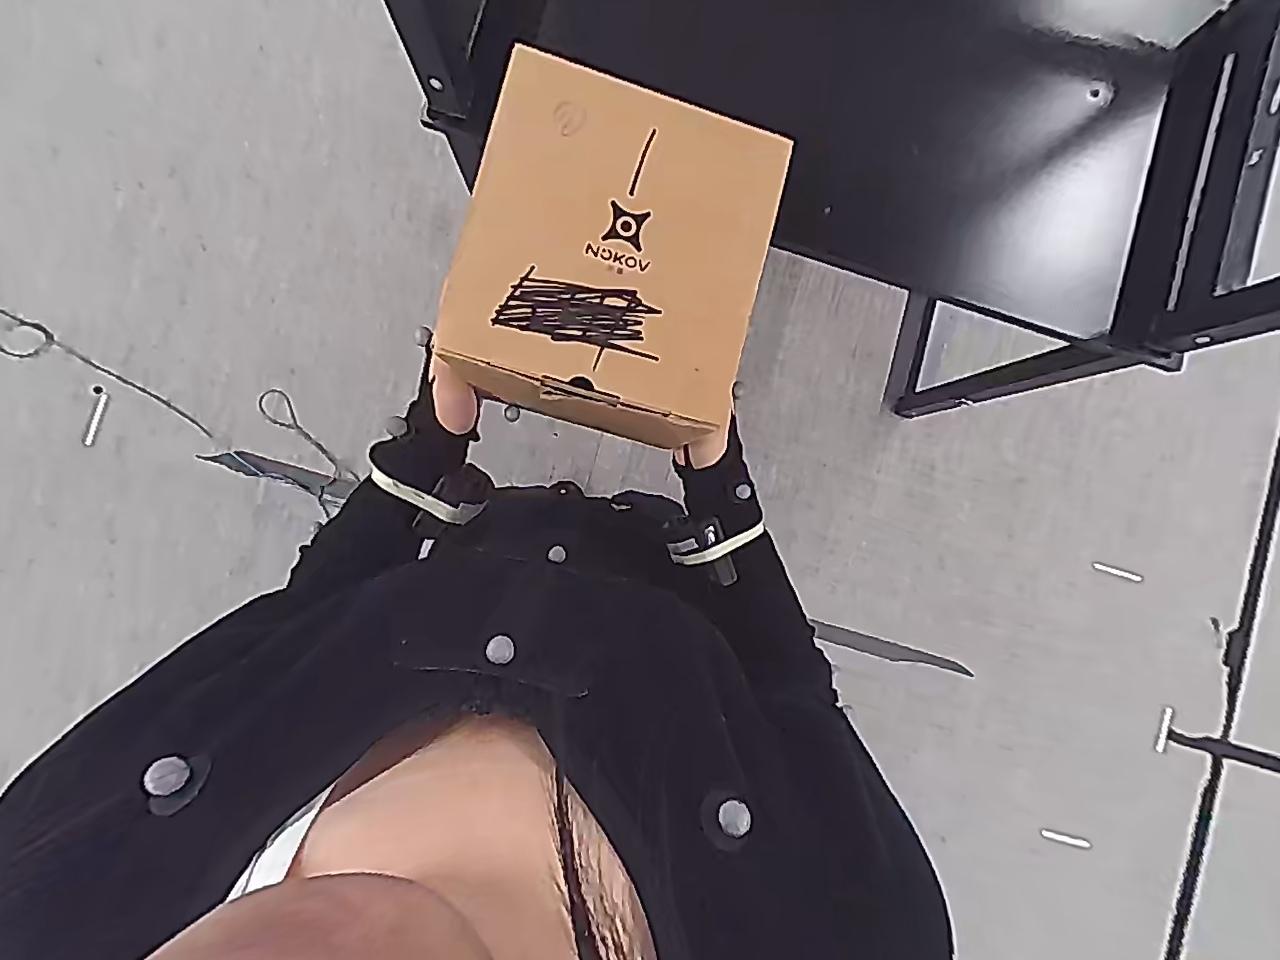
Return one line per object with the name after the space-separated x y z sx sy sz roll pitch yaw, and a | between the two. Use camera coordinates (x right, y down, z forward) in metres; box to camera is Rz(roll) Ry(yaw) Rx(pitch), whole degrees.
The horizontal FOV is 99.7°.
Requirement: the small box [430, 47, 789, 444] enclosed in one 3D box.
-0.022 -0.131 0.378 0.168 0.176 0.179 15 87 -7 | small box
